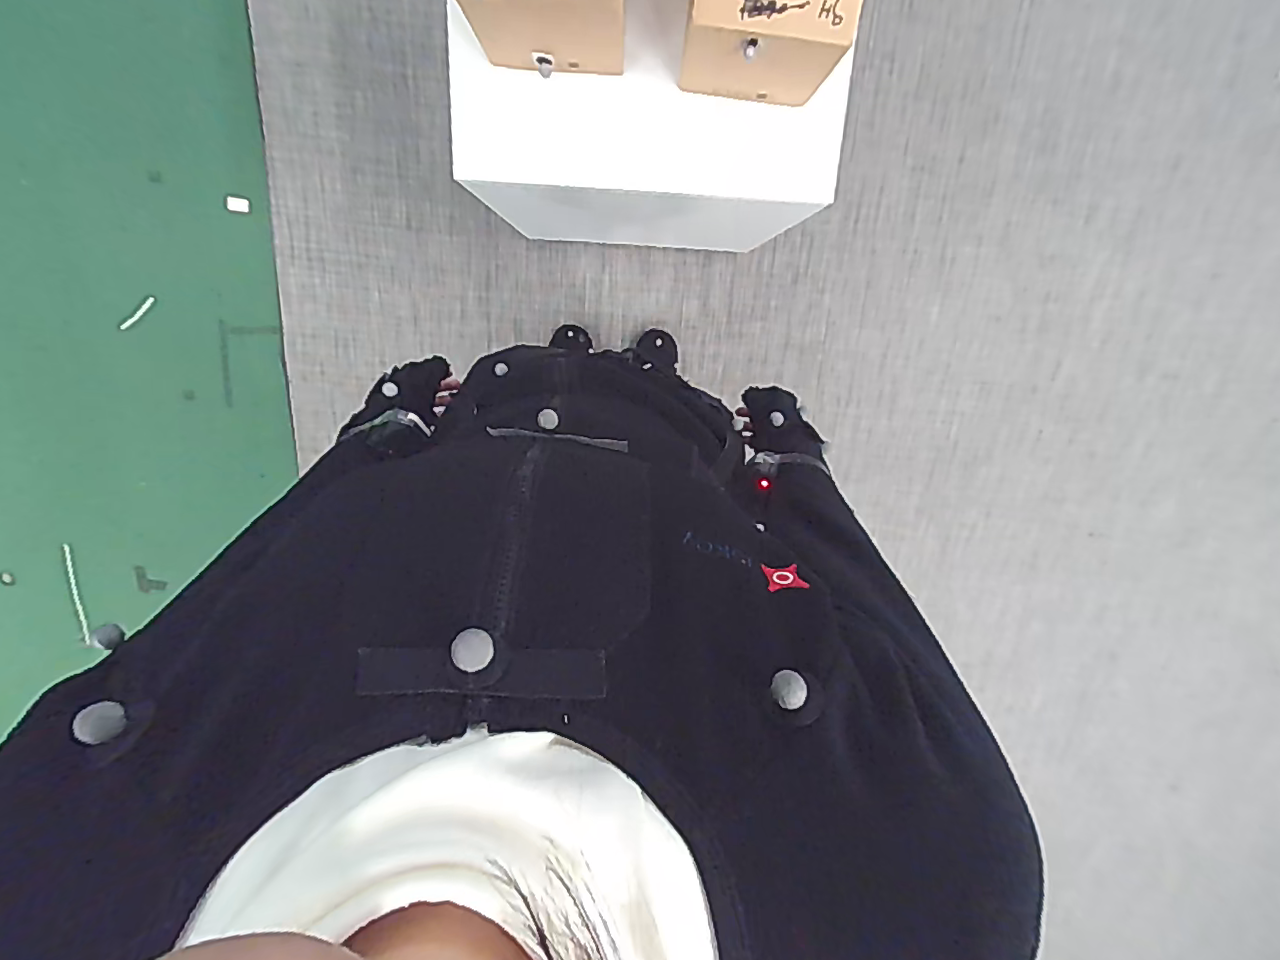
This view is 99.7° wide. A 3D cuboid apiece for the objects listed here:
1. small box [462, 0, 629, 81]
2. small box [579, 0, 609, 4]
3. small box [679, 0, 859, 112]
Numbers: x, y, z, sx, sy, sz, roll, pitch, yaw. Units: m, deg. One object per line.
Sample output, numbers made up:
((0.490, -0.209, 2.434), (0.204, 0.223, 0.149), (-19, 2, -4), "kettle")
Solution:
((-0.096, -0.572, 0.587), (0.168, 0.176, 0.179), (2, 108, 0), "small box")
((-0.095, -0.527, 0.429), (0.168, 0.176, 0.179), (3, 105, -2), "small box")
((0.139, -0.546, 0.595), (0.168, 0.176, 0.179), (7, 106, -3), "small box")
